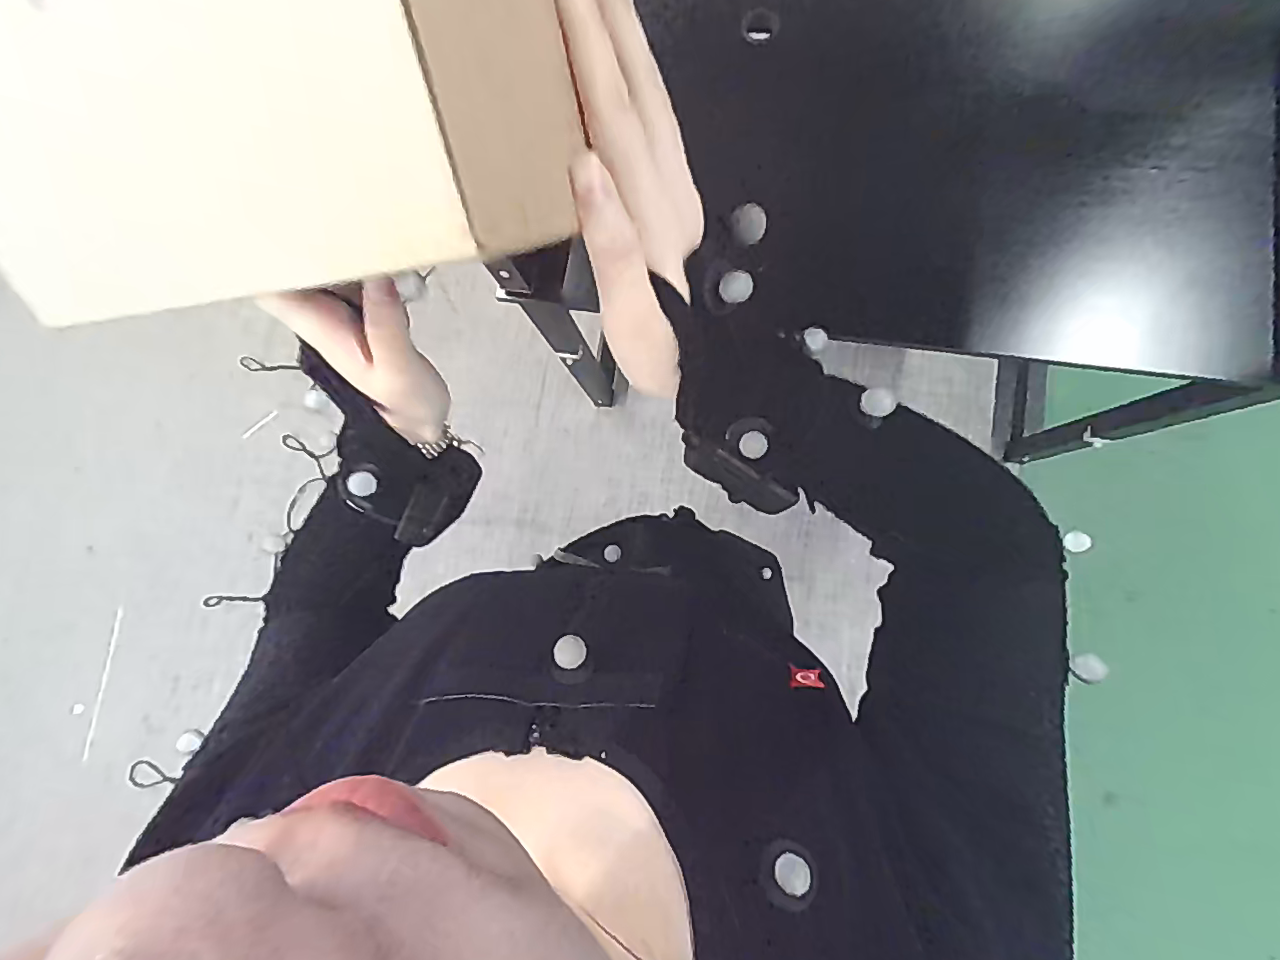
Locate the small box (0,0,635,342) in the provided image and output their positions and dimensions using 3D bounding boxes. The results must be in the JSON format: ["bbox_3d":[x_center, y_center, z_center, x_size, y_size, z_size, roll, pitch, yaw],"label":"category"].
[{"bbox_3d":[-0.109,-0.164,0.192,0.168,0.176,0.179,-2,118,17],"label":"small box"}]
